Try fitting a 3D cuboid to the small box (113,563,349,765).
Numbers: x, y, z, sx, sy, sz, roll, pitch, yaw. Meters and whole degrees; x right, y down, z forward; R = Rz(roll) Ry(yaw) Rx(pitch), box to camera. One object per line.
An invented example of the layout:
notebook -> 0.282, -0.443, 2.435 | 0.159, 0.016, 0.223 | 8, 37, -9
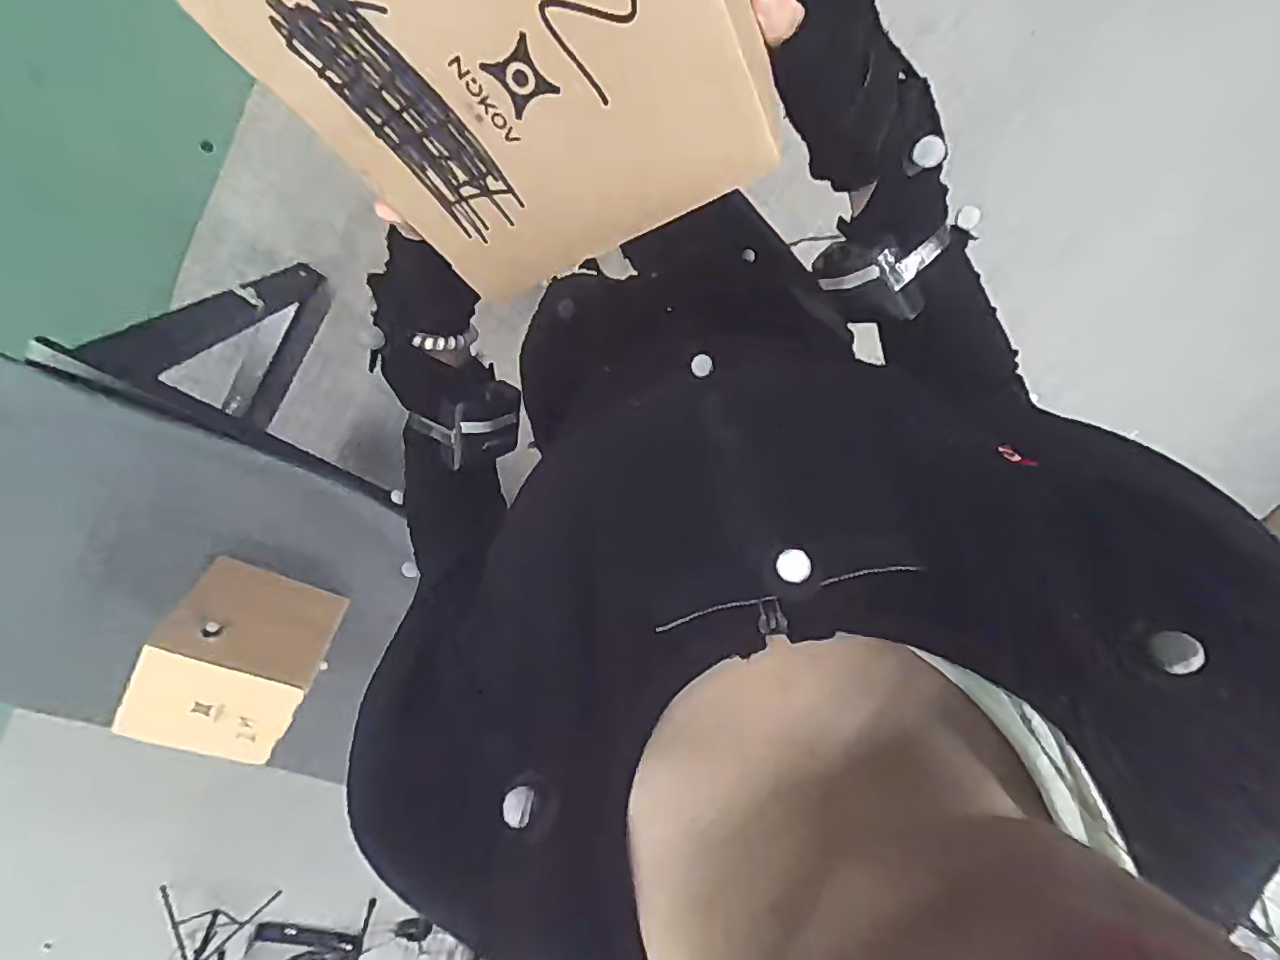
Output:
small box -> -0.528, 0.237, 0.723 | 0.179, 0.176, 0.168 | 29, 111, -23
